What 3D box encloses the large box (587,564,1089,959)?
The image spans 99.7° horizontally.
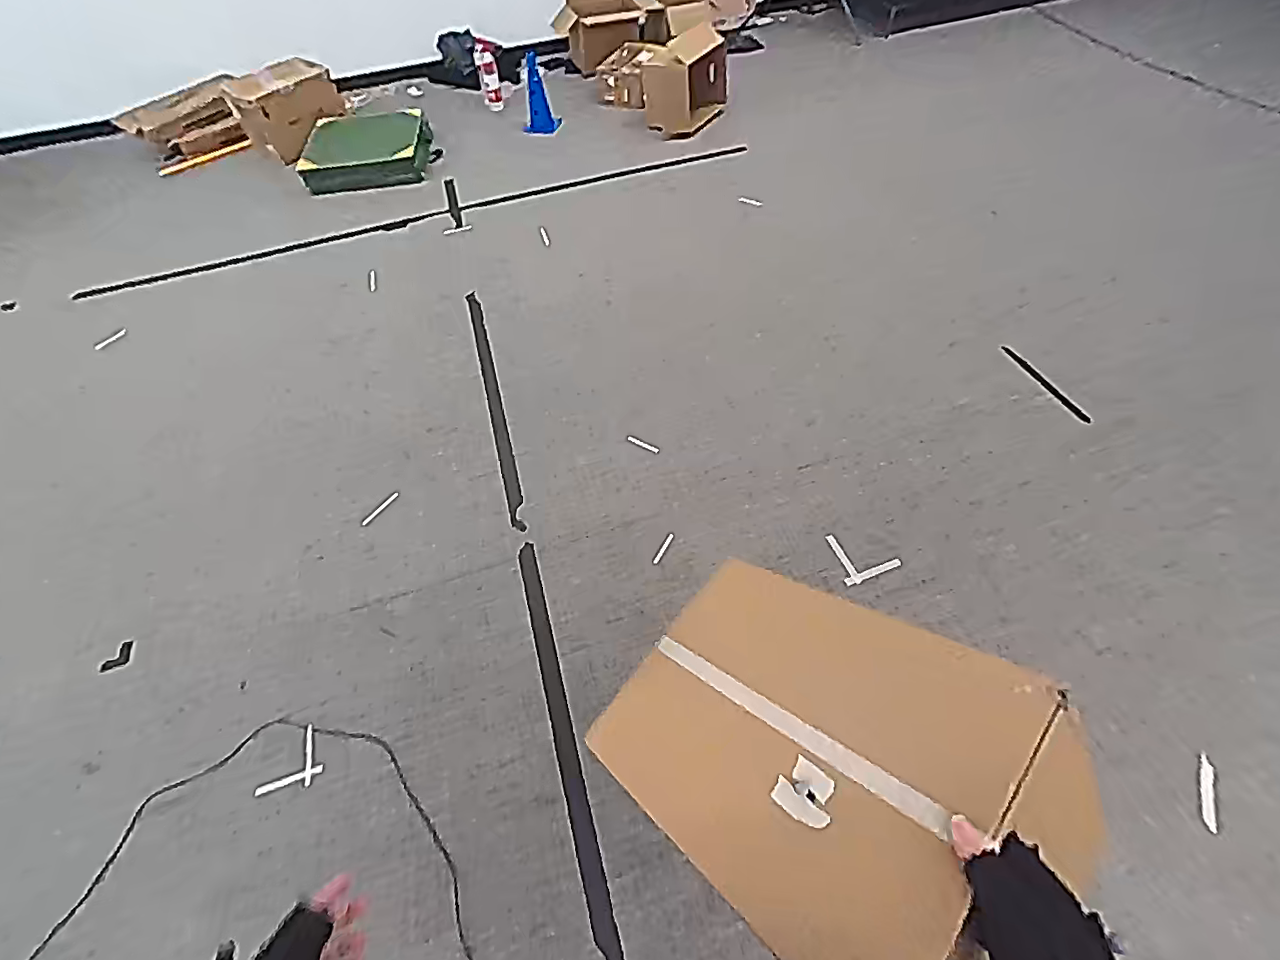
[{"bbox_3d":[0.219,0.354,0.631,0.320,0.320,0.408,-49,34,-20],"label":"large box"}]
